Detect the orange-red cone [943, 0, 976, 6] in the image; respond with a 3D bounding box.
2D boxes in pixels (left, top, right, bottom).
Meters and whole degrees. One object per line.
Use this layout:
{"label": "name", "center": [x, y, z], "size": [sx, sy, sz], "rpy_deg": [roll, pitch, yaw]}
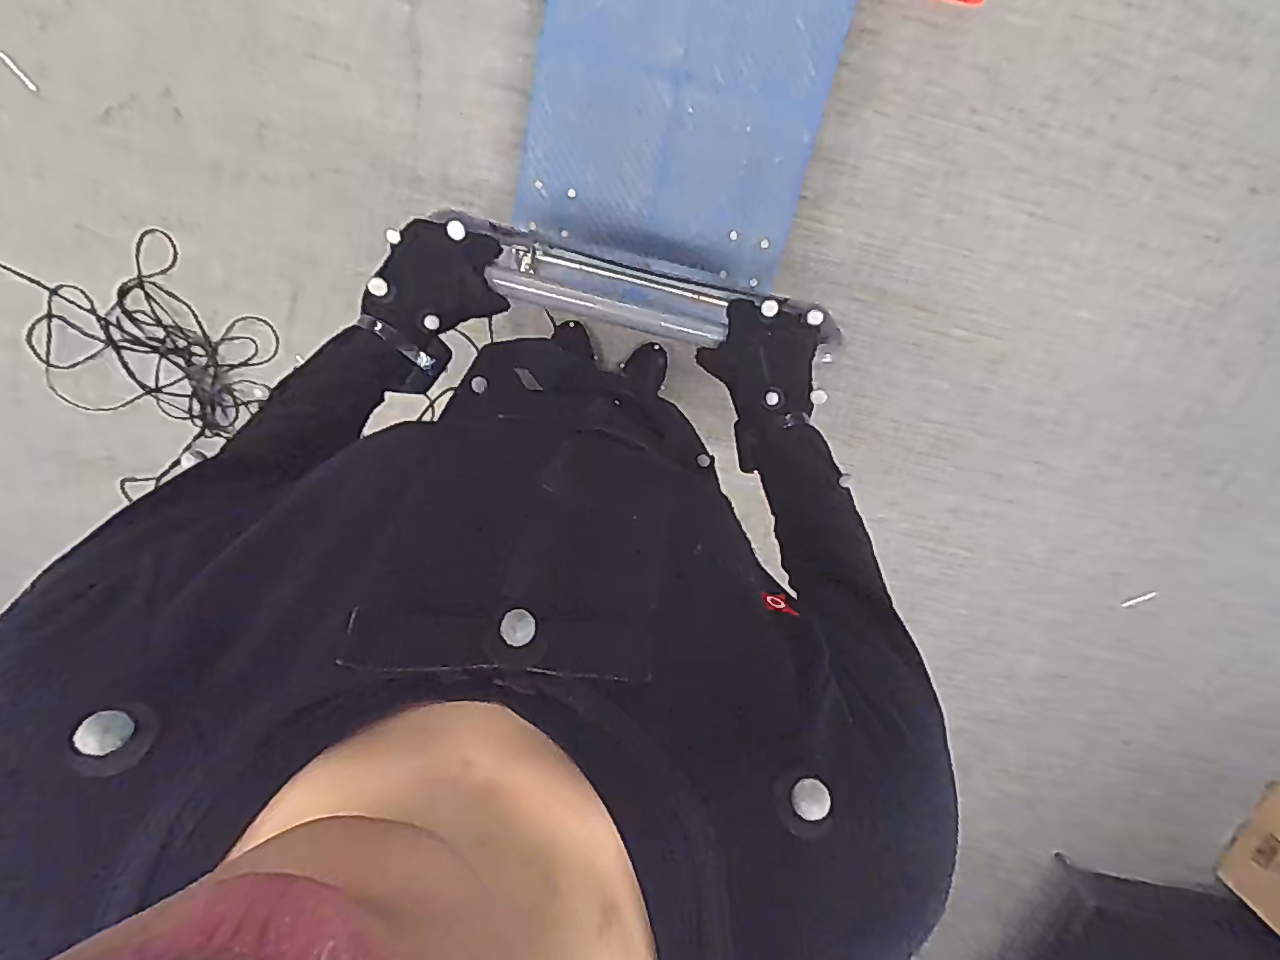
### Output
{"label": "orange-red cone", "center": [0.654, -1.093, 0.985], "size": [0.199, 0.360, 0.198], "rpy_deg": [13, 106, -2]}
